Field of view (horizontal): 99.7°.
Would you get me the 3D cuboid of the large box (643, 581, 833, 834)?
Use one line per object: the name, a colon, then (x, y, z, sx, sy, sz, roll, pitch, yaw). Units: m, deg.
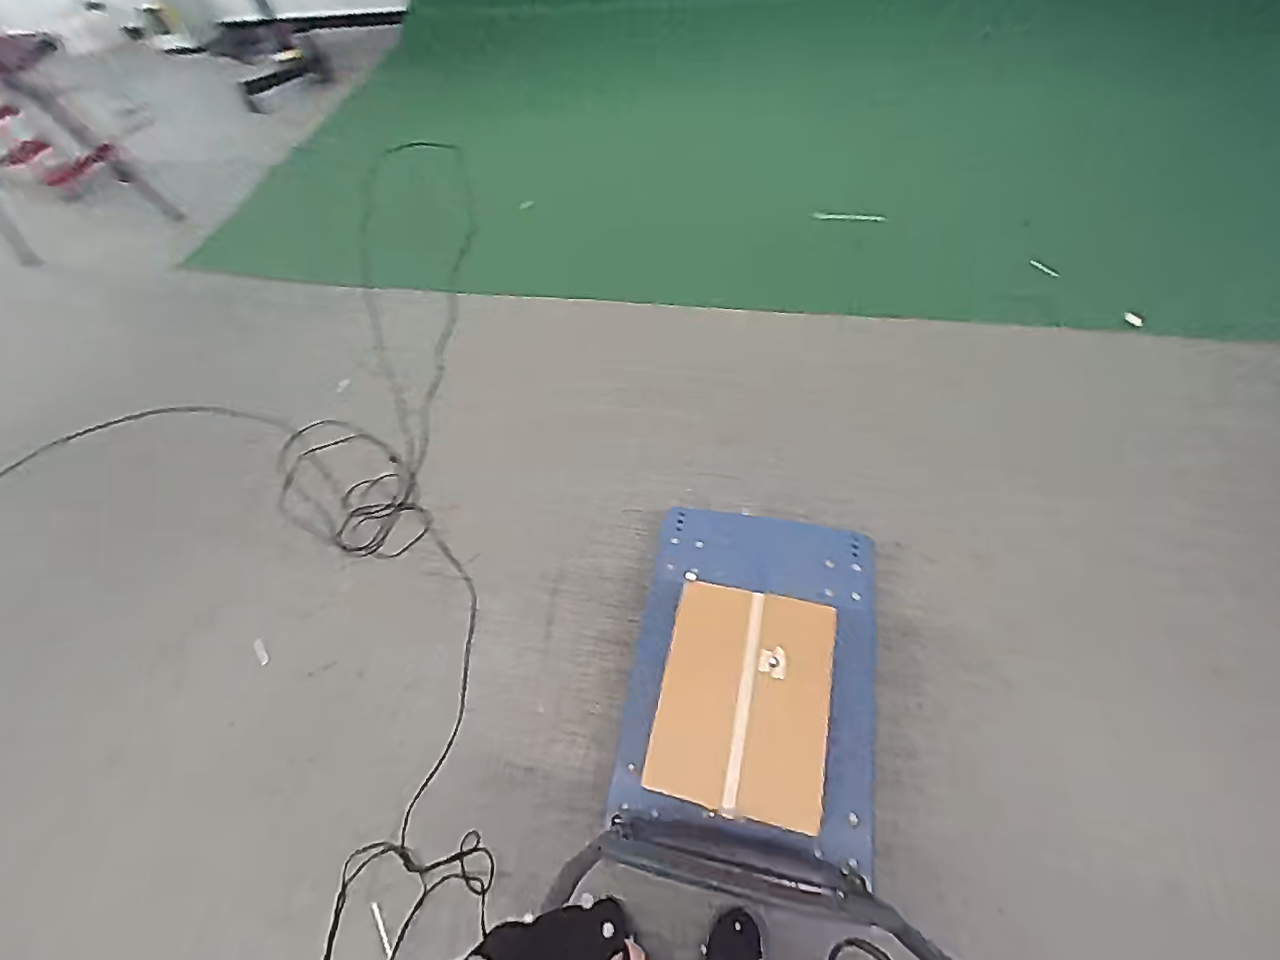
large box: (0.212, 0.480, 1.149, 0.320, 0.320, 0.408, 10, 60, 12)
